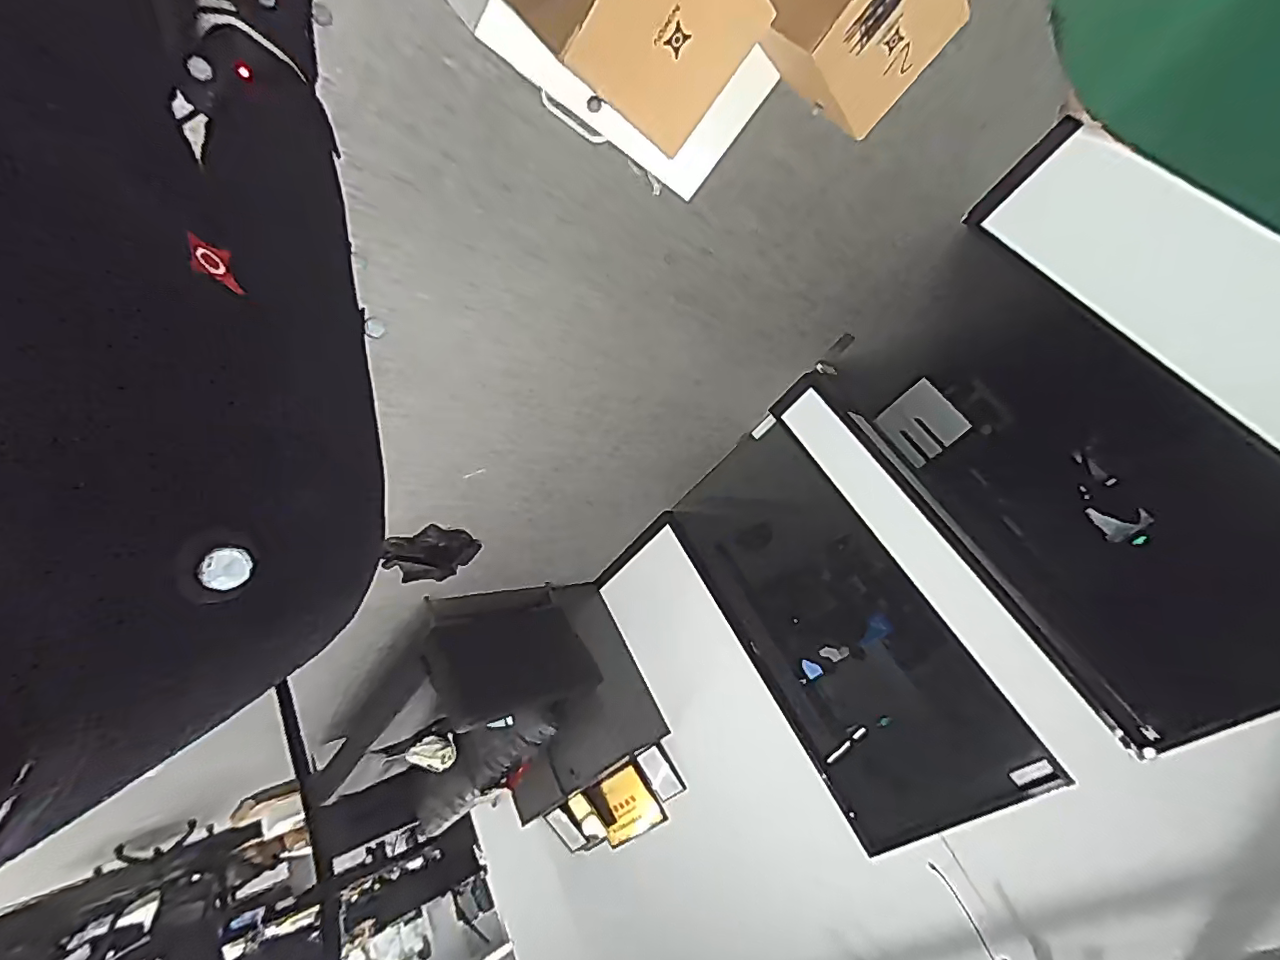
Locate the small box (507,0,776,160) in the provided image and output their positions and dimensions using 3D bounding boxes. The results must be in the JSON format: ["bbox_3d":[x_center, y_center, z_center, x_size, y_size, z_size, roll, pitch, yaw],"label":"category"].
[{"bbox_3d":[-0.003,-0.479,0.545,0.179,0.176,0.168,5,136,-51],"label":"small box"}]
